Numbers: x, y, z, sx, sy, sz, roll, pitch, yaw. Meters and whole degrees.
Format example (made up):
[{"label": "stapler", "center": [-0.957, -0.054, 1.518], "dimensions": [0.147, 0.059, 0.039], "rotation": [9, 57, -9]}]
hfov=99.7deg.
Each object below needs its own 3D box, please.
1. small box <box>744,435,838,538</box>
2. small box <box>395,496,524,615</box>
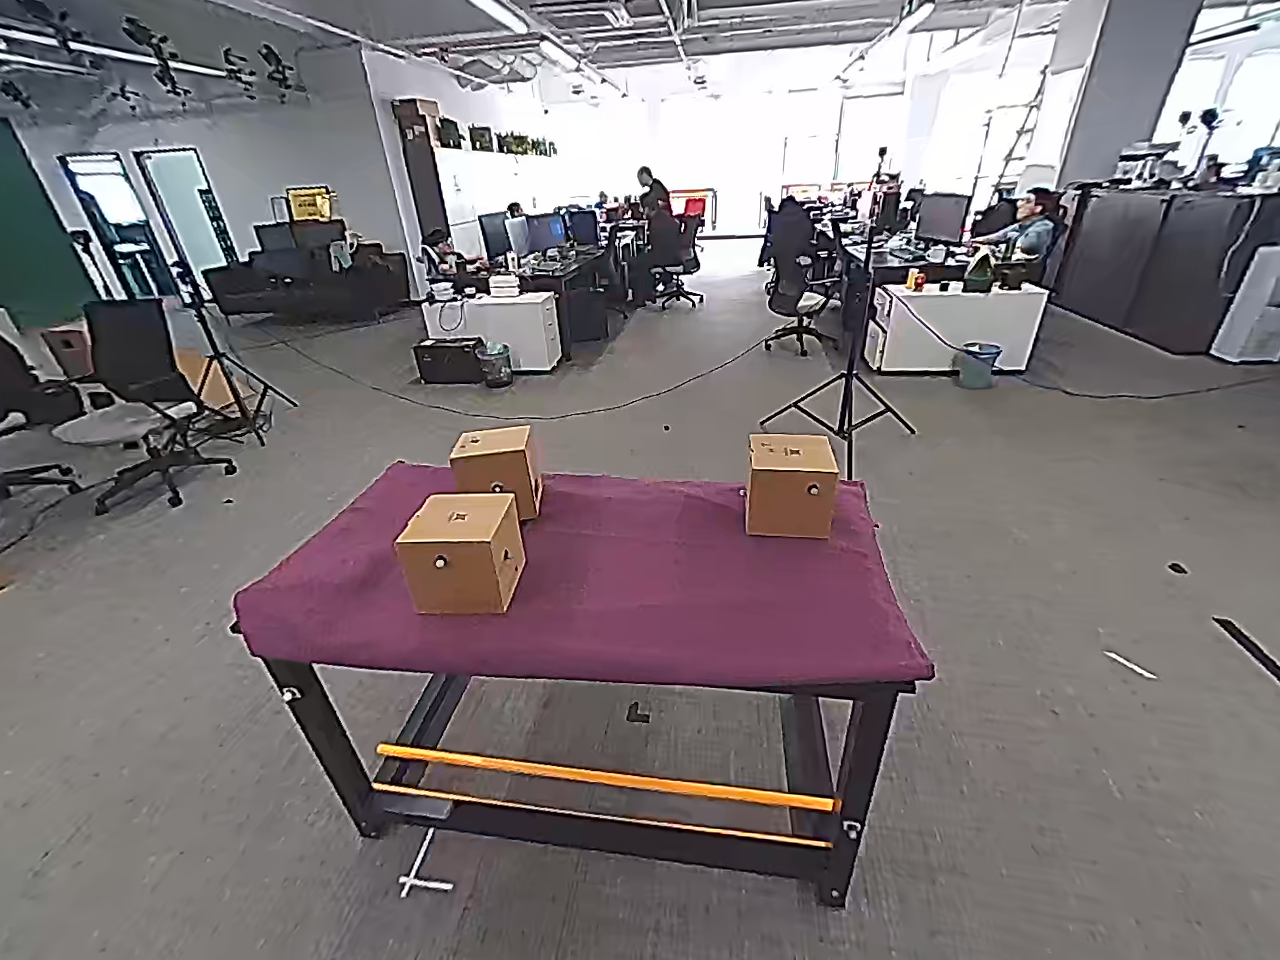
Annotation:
[{"label": "small box", "center": [0.325, 0.014, 1.198], "dimensions": [0.179, 0.176, 0.168], "rotation": [2, 30, 9]}, {"label": "small box", "center": [-0.333, 0.145, 1.043], "dimensions": [0.179, 0.176, 0.168], "rotation": [-1, 29, 4]}]
